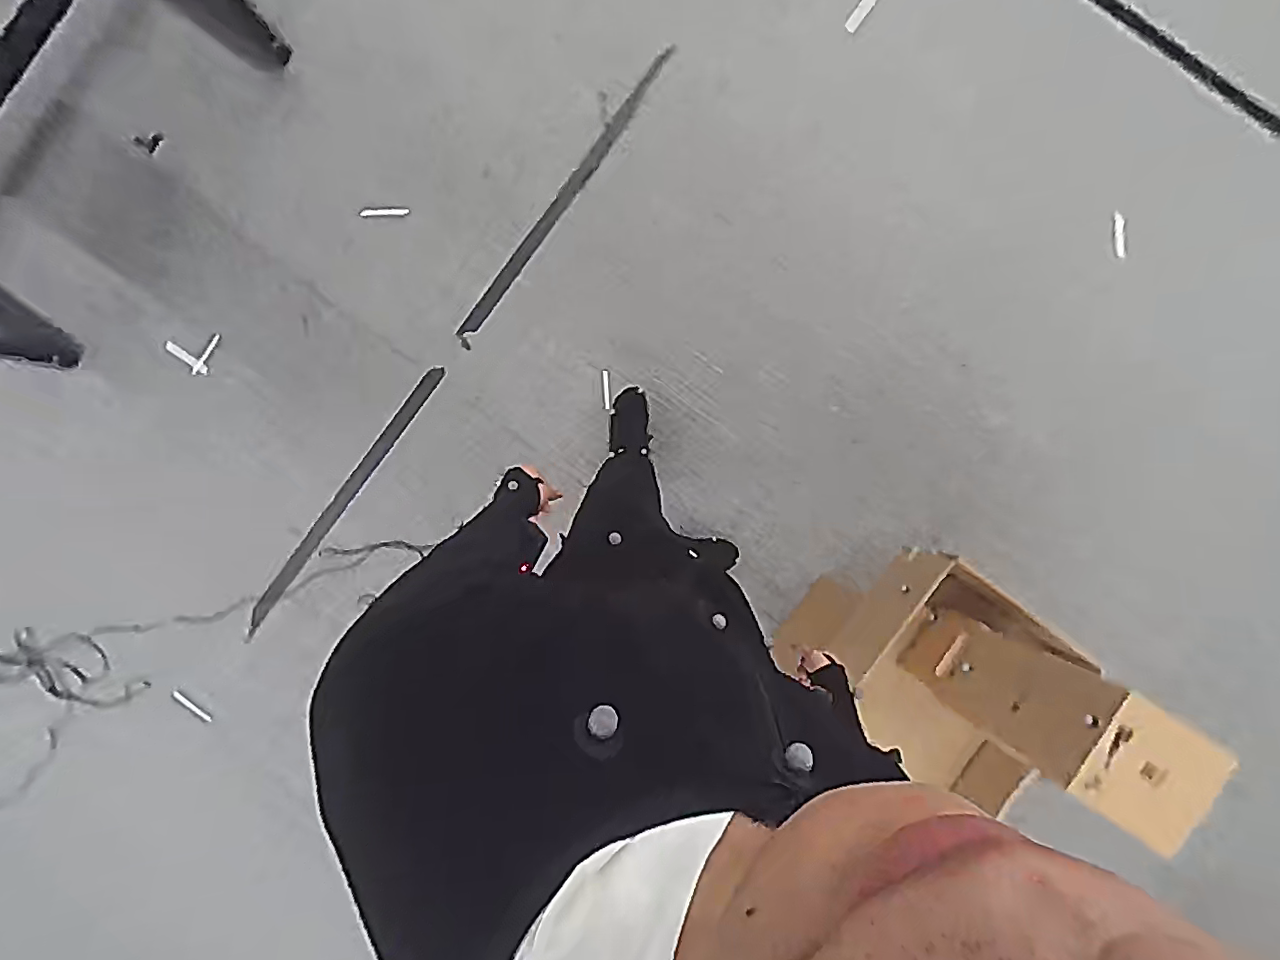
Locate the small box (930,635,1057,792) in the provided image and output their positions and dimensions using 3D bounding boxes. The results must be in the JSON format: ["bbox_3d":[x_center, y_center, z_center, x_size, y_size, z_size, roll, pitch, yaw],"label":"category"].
[{"bbox_3d":[0.676,0.406,0.974,0.179,0.176,0.168,34,90,0],"label":"small box"}]

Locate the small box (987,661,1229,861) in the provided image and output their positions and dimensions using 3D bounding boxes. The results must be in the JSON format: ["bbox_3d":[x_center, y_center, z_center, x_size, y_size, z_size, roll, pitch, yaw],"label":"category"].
[{"bbox_3d":[0.680,0.401,0.809,0.179,0.176,0.168,34,90,-1],"label":"small box"}]

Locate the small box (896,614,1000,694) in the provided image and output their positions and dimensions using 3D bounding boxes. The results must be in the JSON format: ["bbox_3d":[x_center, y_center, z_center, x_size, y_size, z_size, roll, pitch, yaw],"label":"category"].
[{"bbox_3d":[0.683,0.402,1.138,0.179,0.176,0.168,36,90,-1],"label":"small box"}]
